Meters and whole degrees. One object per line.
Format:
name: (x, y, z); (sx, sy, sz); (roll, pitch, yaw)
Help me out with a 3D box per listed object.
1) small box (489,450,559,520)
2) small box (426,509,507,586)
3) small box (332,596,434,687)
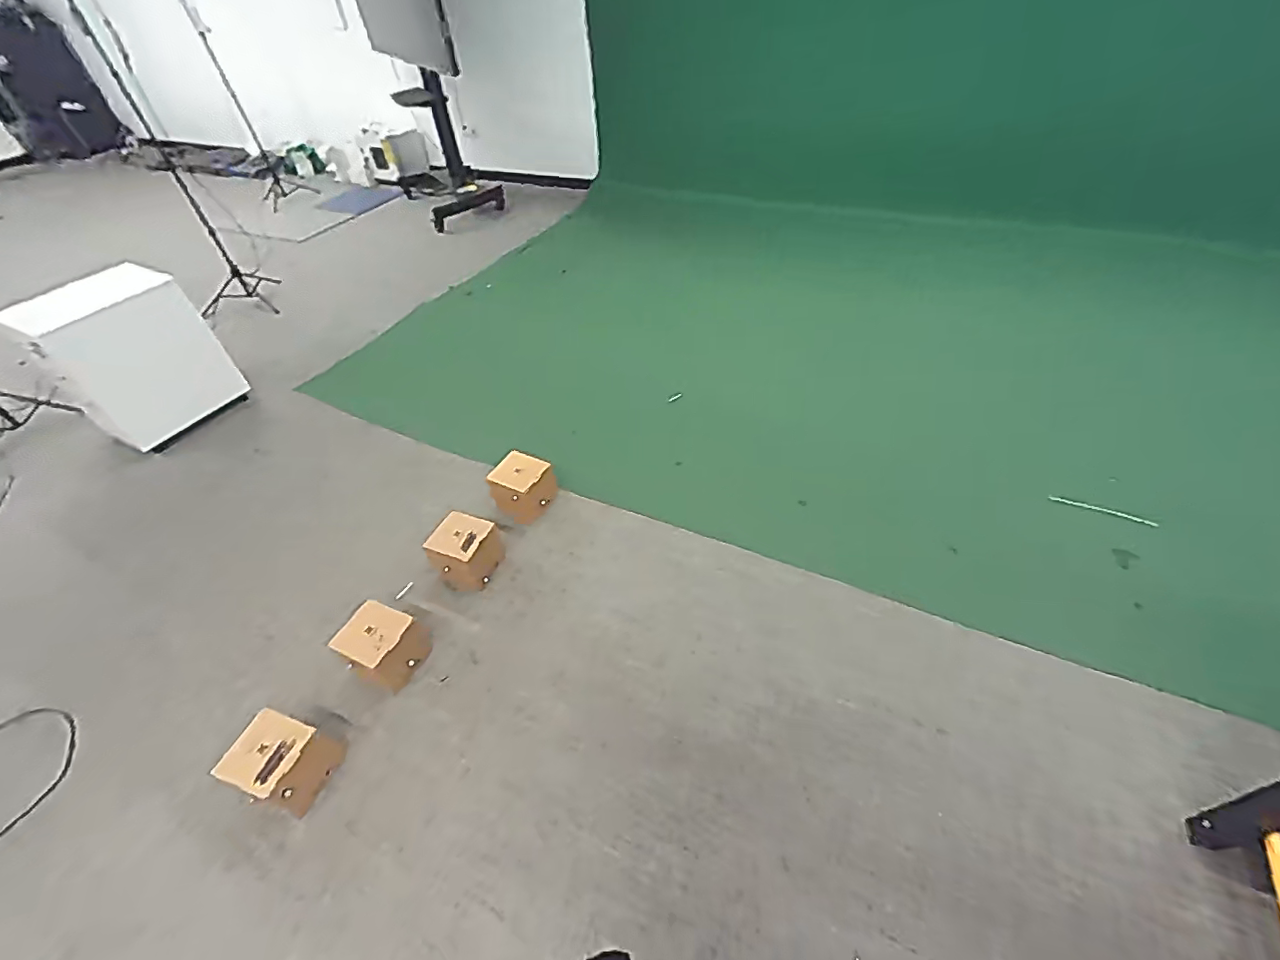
small box: (-0.422, 0.022, 1.998); (0.179, 0.176, 0.168); (19, 50, 21)
small box: (-0.568, 0.229, 1.797); (0.179, 0.176, 0.168); (14, 47, 18)
small box: (-0.736, 0.470, 1.563); (0.179, 0.176, 0.168); (17, 50, 19)
